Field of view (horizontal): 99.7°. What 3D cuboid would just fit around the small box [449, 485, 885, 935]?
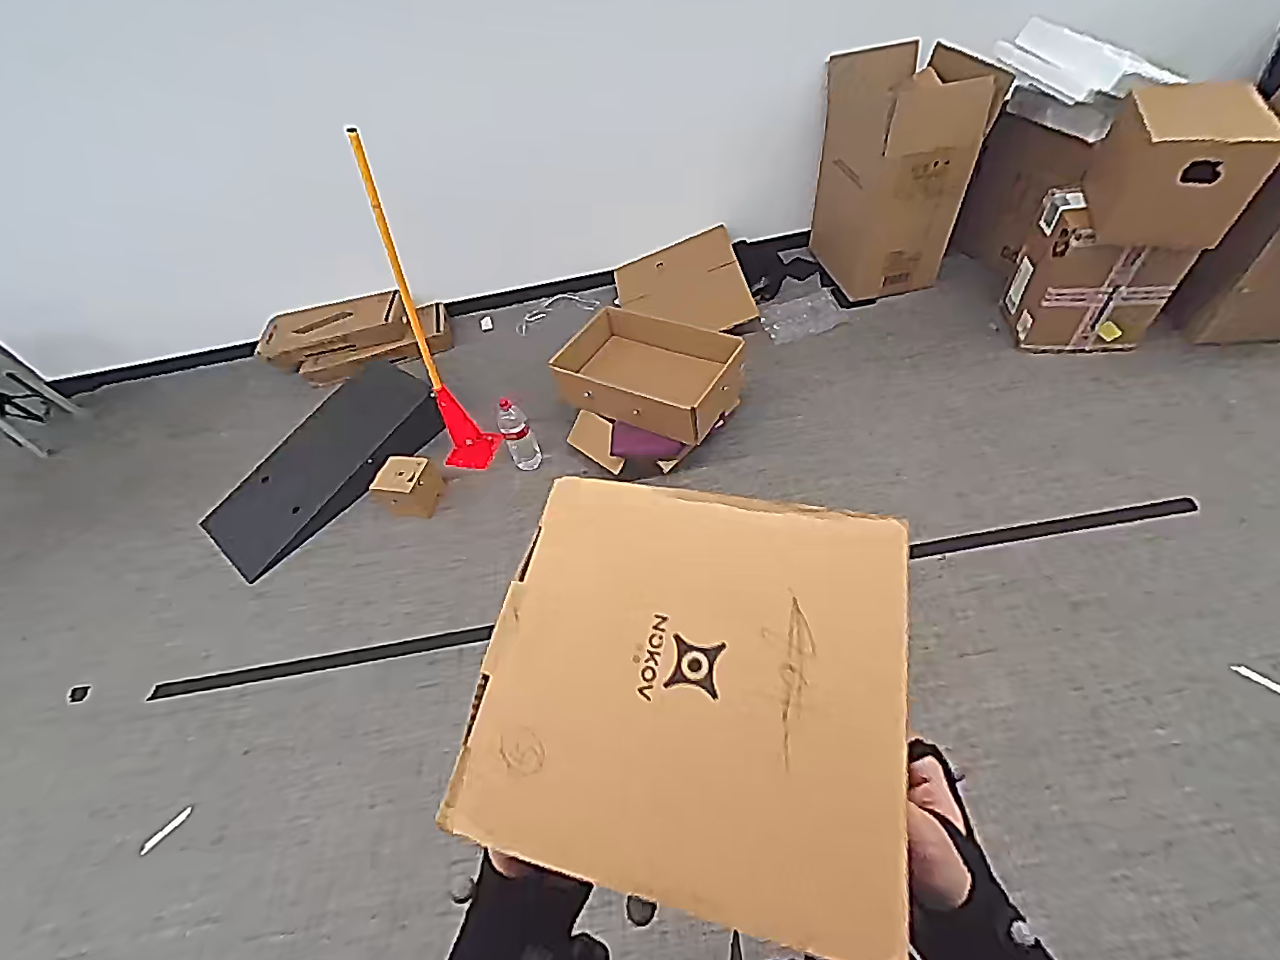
[{"bbox_3d":[0.031,0.121,0.312,0.179,0.176,0.168,6,61,14],"label":"small box"}]
